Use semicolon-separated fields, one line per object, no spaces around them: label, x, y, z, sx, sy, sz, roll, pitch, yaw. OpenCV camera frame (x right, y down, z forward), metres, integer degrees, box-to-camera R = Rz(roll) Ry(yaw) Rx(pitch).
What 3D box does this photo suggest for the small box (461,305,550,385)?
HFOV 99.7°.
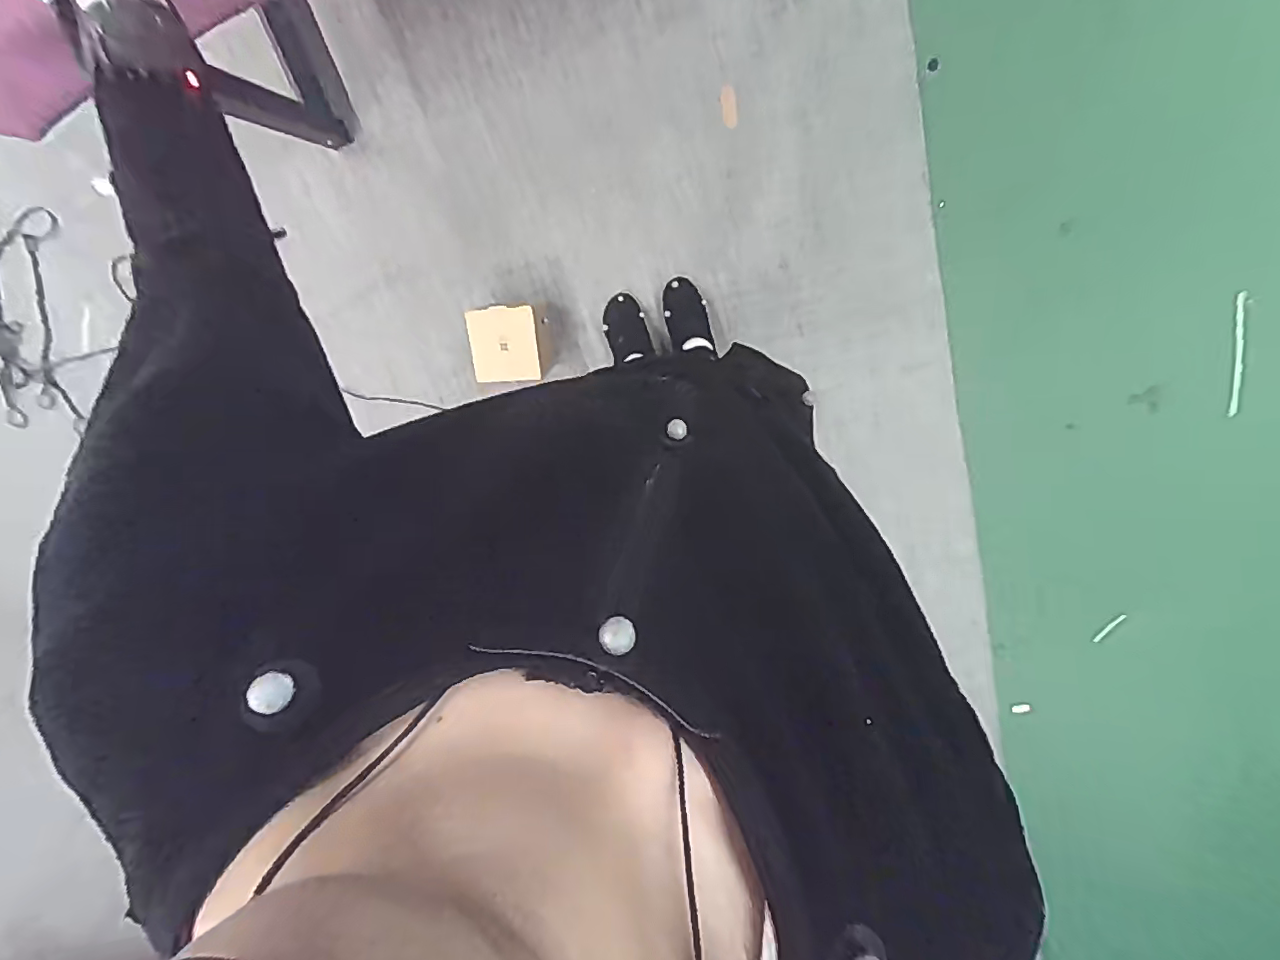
small box;-0.330;-0.344;1.360;0.168;0.176;0.179;-1;112;5
